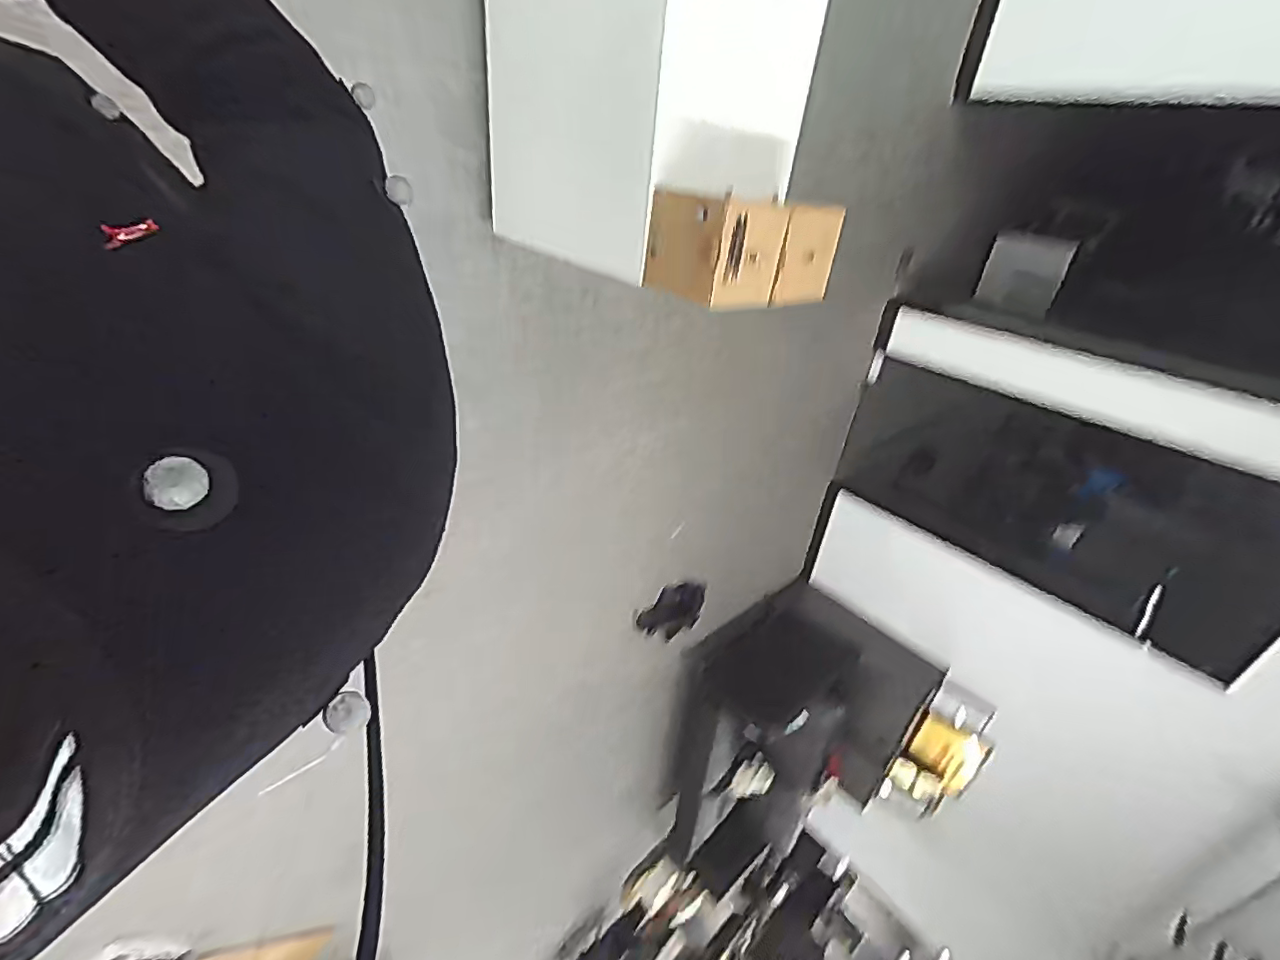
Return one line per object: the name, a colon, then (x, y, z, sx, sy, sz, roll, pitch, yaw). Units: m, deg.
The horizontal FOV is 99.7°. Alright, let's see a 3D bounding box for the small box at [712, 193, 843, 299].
small box: (0.266, -0.468, 1.077, 0.179, 0.176, 0.168, -22, 132, -37)
